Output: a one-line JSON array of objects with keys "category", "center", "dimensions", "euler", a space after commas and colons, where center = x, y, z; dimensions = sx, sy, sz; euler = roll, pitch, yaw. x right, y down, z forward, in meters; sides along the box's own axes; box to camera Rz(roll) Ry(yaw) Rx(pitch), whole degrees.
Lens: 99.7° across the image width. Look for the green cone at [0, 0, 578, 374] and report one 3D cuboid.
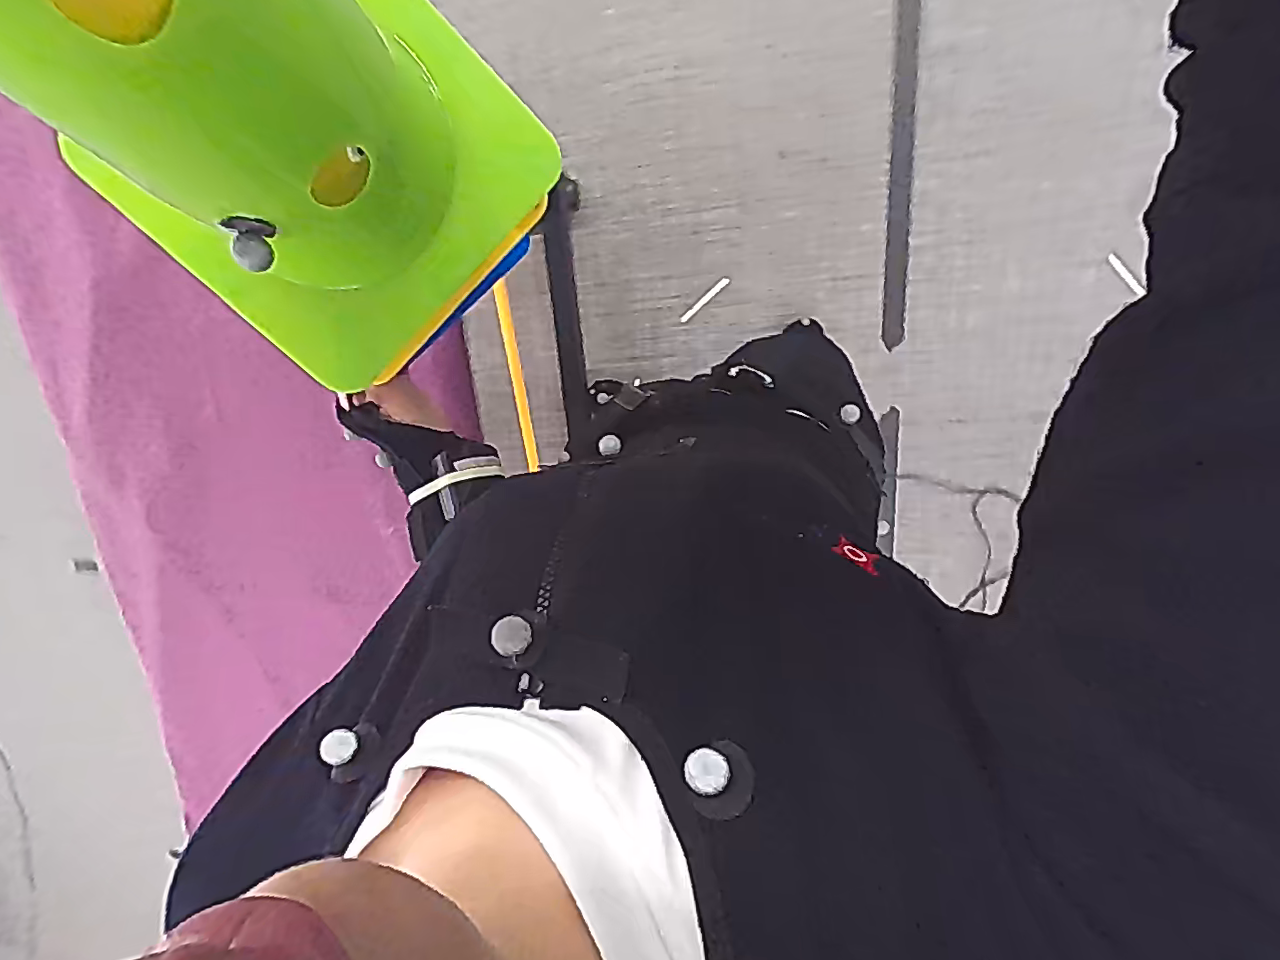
[{"category": "green cone", "center": [-0.142, -0.154, 0.118], "dimensions": [0.202, 0.368, 0.200], "euler": [44, 93, -13]}]
